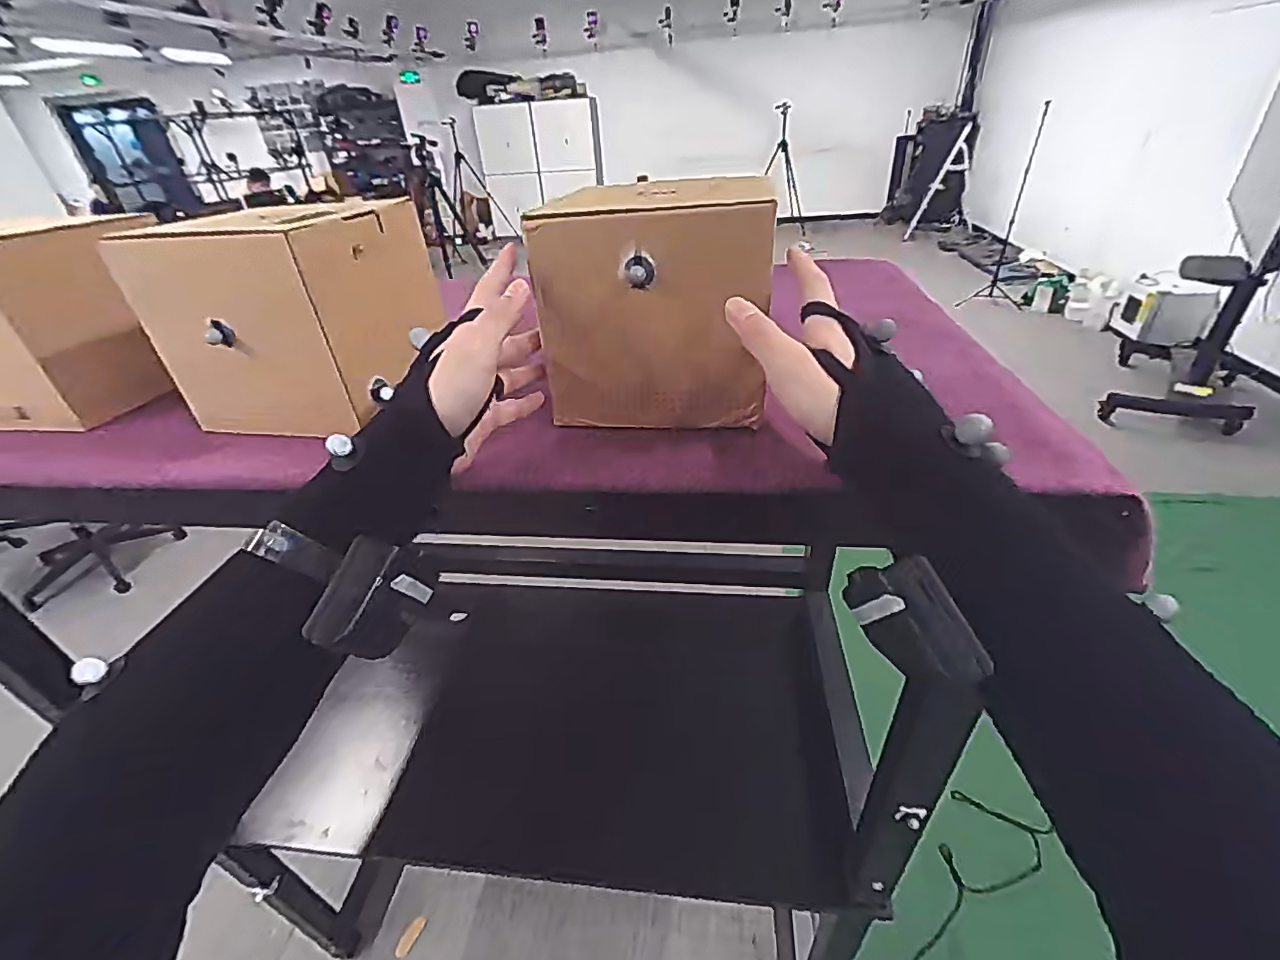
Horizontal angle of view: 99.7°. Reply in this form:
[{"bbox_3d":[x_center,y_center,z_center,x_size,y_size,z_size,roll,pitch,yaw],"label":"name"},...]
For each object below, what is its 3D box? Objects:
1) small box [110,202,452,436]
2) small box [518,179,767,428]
[{"bbox_3d":[-0.306,-0.152,0.508,0.179,0.176,0.168,3,34,13],"label":"small box"},{"bbox_3d":[0.019,-0.155,0.472,0.179,0.176,0.168,2,34,11],"label":"small box"}]
